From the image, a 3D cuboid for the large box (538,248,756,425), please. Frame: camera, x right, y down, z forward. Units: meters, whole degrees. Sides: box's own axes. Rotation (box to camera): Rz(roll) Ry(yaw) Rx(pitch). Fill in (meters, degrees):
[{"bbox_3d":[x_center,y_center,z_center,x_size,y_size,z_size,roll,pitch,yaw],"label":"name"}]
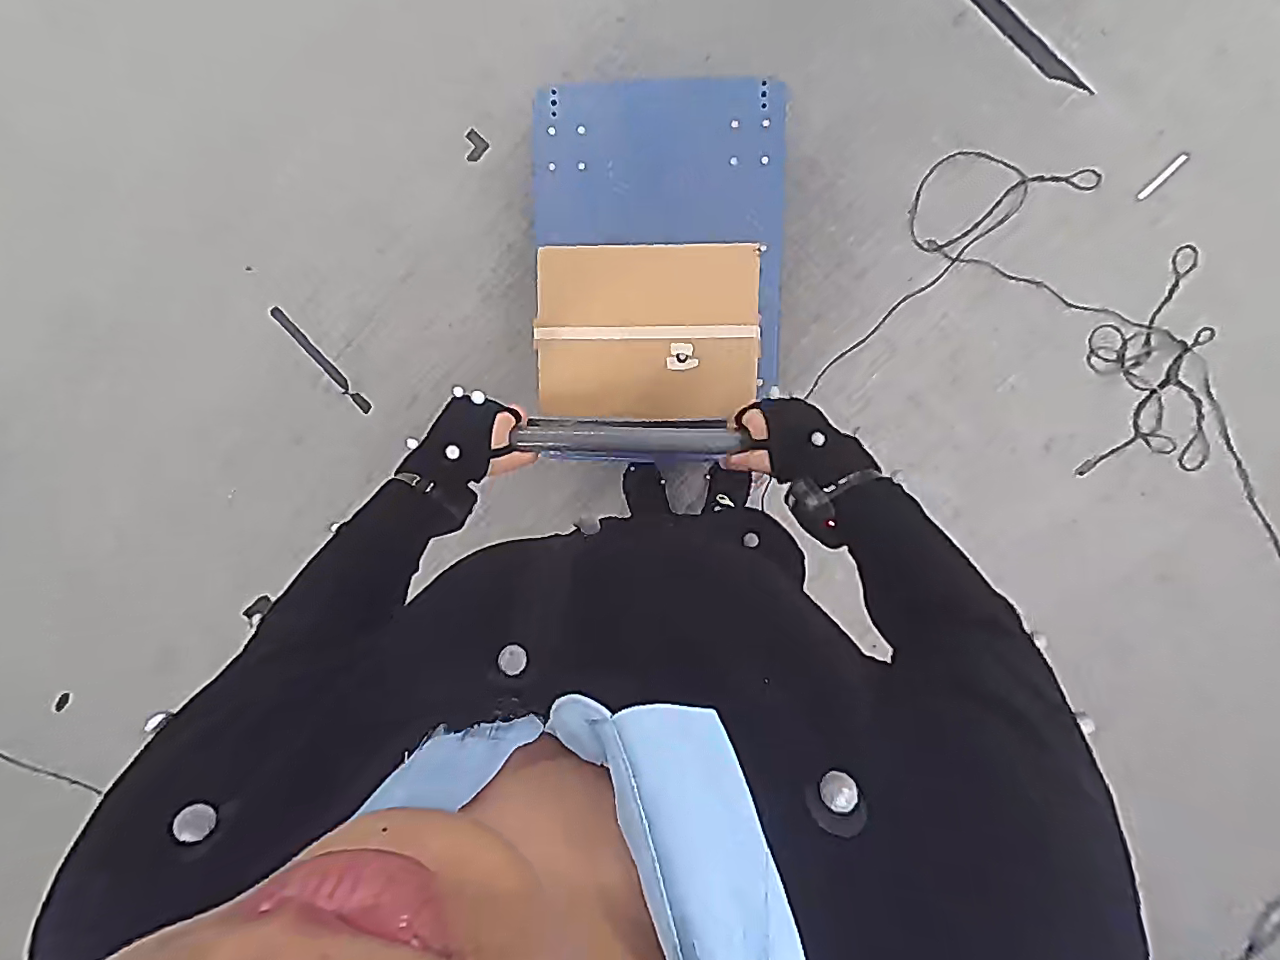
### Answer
[{"bbox_3d":[0.017,-0.276,1.141,0.408,0.320,0.320,1,96,3],"label":"large box"}]
